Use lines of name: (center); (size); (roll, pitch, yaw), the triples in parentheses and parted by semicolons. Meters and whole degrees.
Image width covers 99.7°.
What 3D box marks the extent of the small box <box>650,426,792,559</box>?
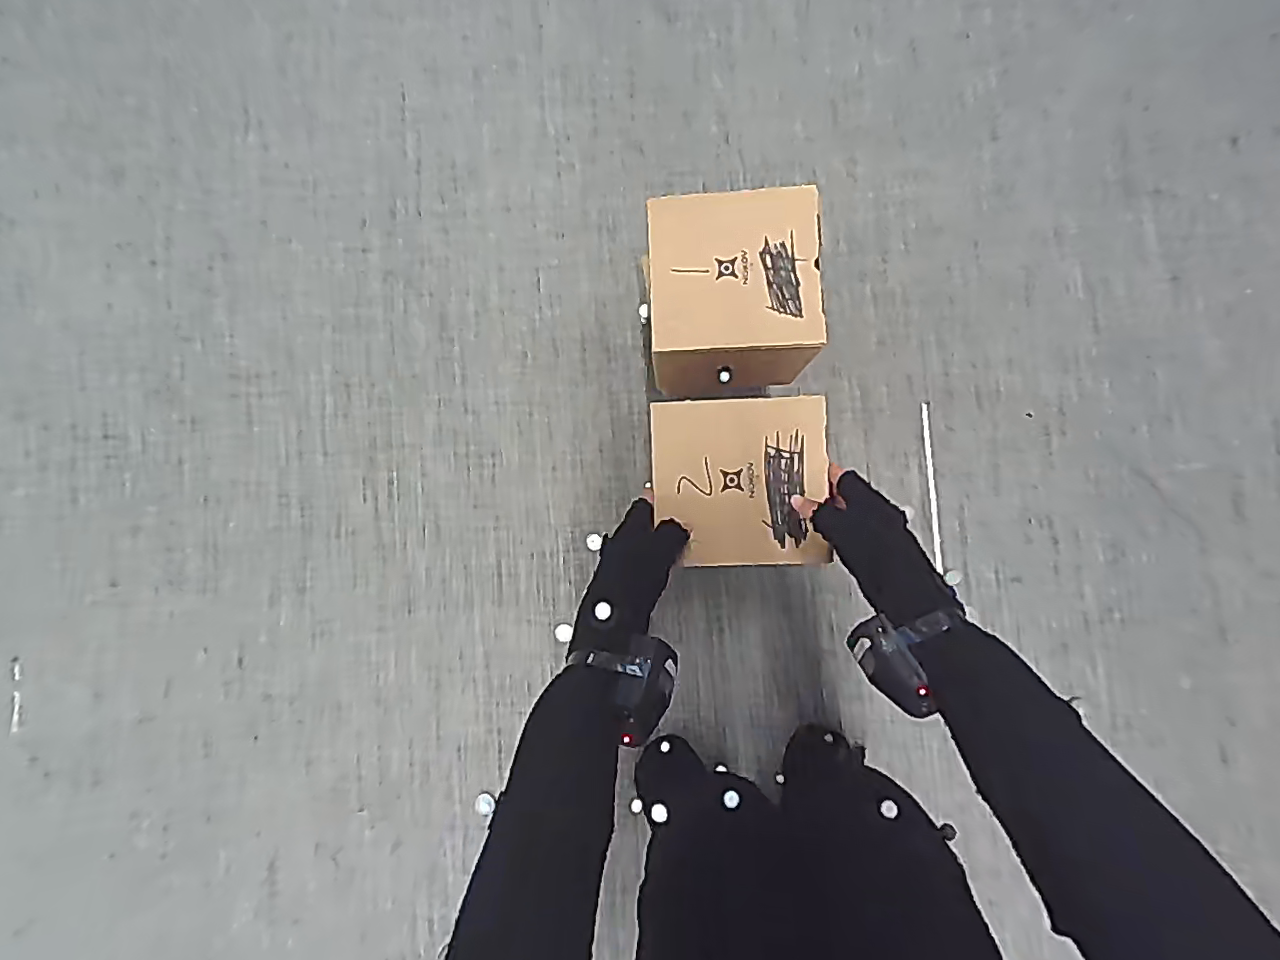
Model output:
small box: (0.110, 0.021, 0.771); (0.179, 0.176, 0.168); (2, 86, 4)
